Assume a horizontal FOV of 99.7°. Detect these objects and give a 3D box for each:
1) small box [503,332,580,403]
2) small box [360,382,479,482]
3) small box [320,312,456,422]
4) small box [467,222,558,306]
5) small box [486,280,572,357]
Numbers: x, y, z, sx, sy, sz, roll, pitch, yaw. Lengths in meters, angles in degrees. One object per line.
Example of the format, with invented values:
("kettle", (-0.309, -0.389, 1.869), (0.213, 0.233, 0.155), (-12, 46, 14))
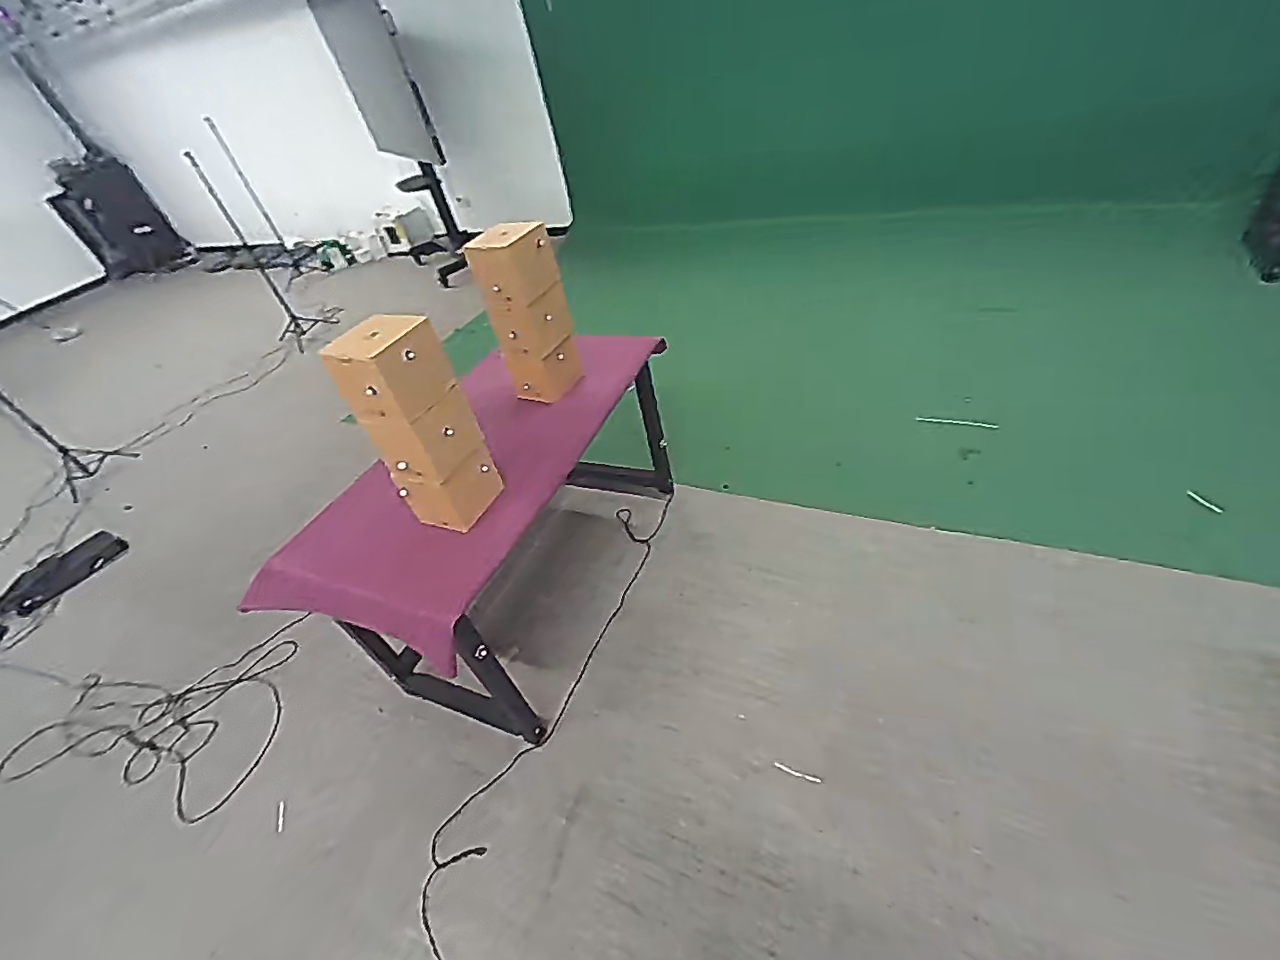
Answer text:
("small box", (-0.310, -0.376, 1.760), (0.168, 0.176, 0.179), (14, 49, 27))
("small box", (-0.506, -0.122, 1.277), (0.168, 0.176, 0.179), (10, 46, 24))
("small box", (-0.534, -0.245, 1.173), (0.168, 0.176, 0.179), (11, 46, 24))
("small box", (-0.351, -0.615, 1.537), (0.168, 0.176, 0.179), (13, 49, 27))
("small box", (-0.328, -0.493, 1.646), (0.168, 0.176, 0.179), (14, 50, 27))
